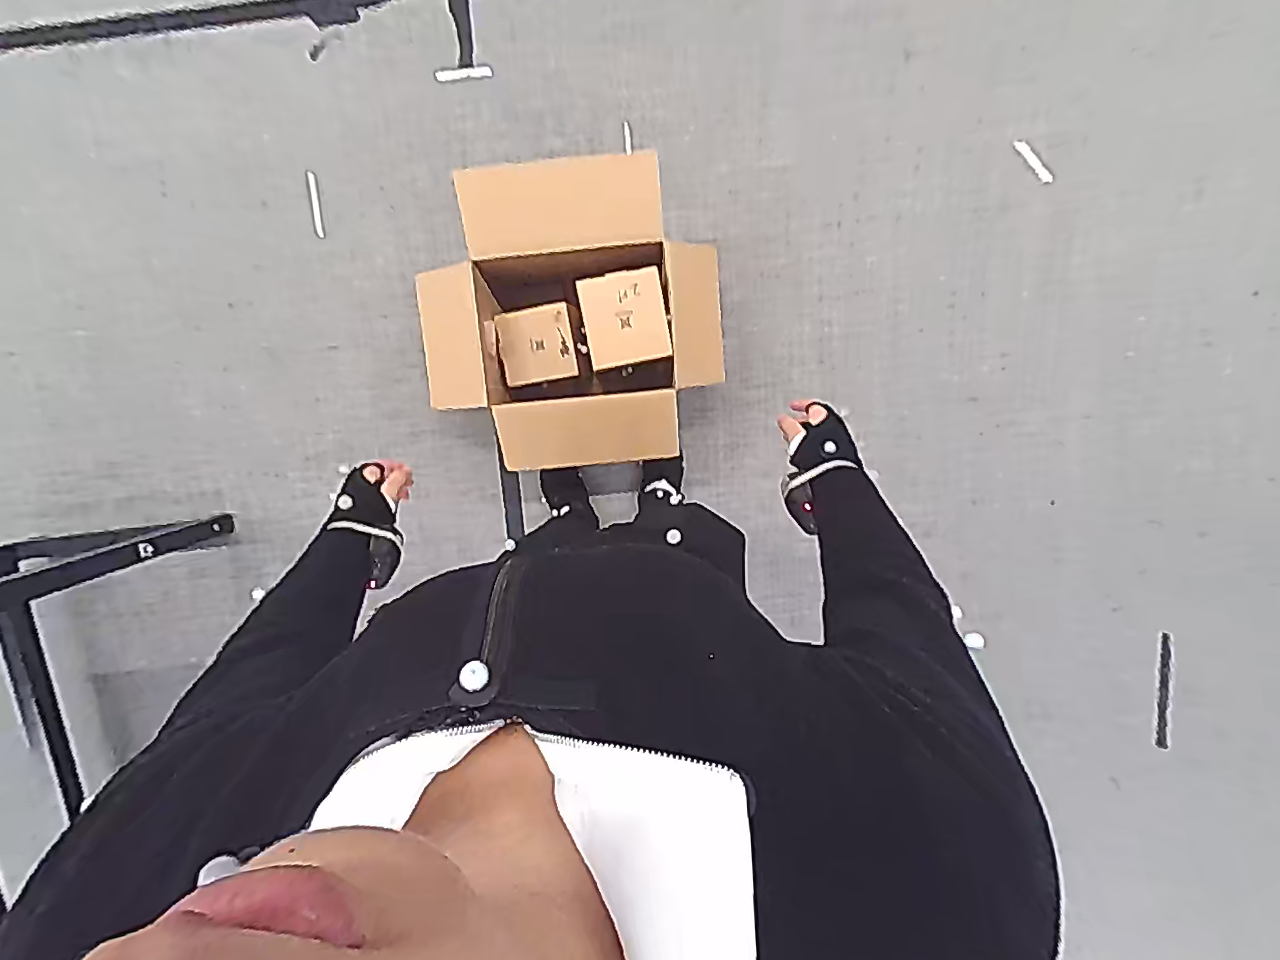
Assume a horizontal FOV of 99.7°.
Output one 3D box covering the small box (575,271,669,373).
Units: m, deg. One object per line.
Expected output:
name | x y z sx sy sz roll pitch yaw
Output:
small box | -0.038 -0.329 1.157 0.168 0.176 0.179 -11 99 -2
